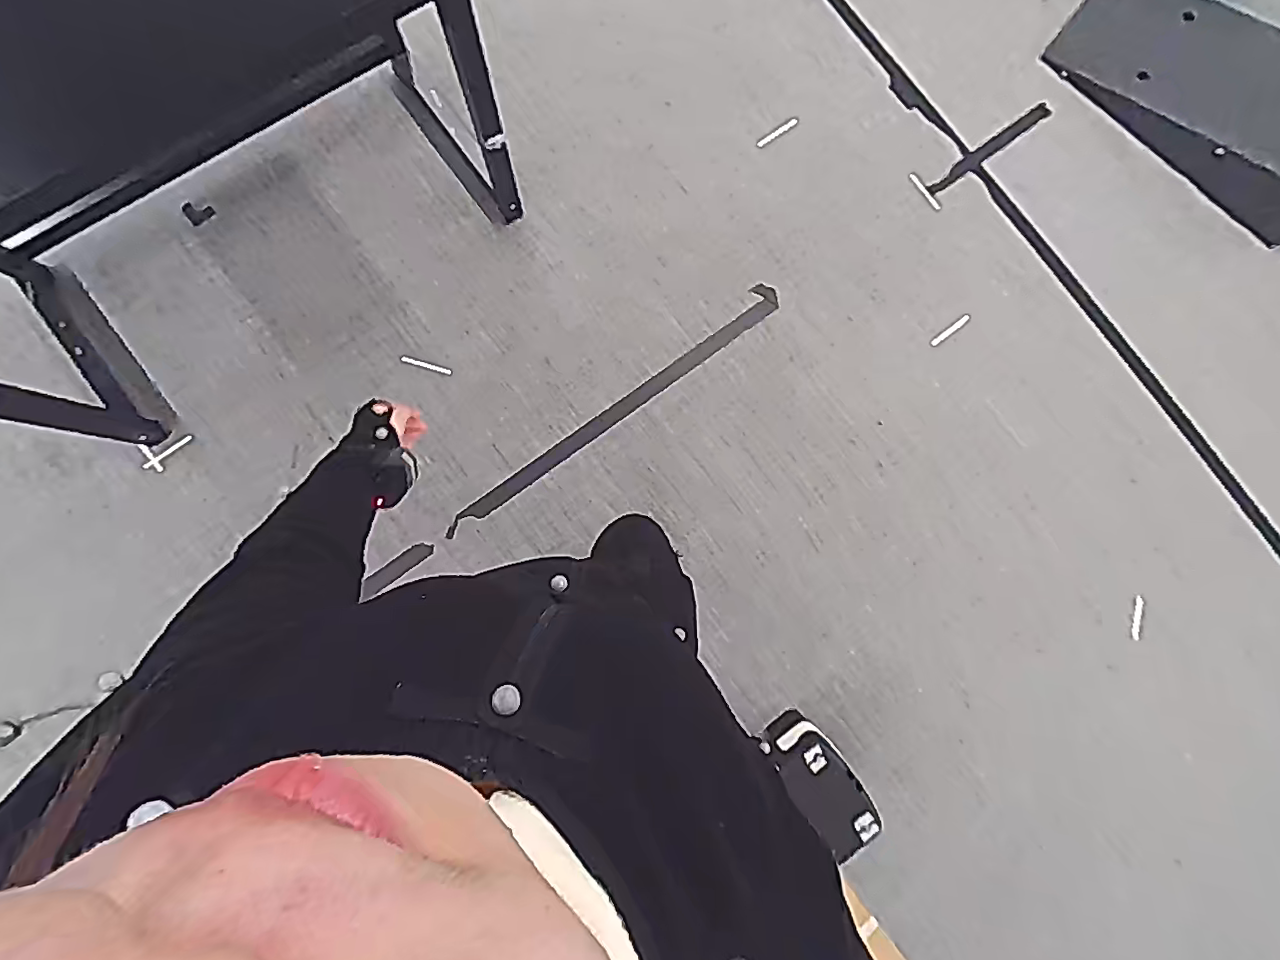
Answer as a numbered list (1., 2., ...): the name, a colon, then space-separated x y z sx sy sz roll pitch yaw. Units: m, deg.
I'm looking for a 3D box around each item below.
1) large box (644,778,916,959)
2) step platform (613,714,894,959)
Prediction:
1. large box: 0.263 0.923 1.108 0.408 0.320 0.320 -37 89 -8
2. step platform: 0.276 0.901 1.351 0.684 0.204 0.286 -31 87 -8
